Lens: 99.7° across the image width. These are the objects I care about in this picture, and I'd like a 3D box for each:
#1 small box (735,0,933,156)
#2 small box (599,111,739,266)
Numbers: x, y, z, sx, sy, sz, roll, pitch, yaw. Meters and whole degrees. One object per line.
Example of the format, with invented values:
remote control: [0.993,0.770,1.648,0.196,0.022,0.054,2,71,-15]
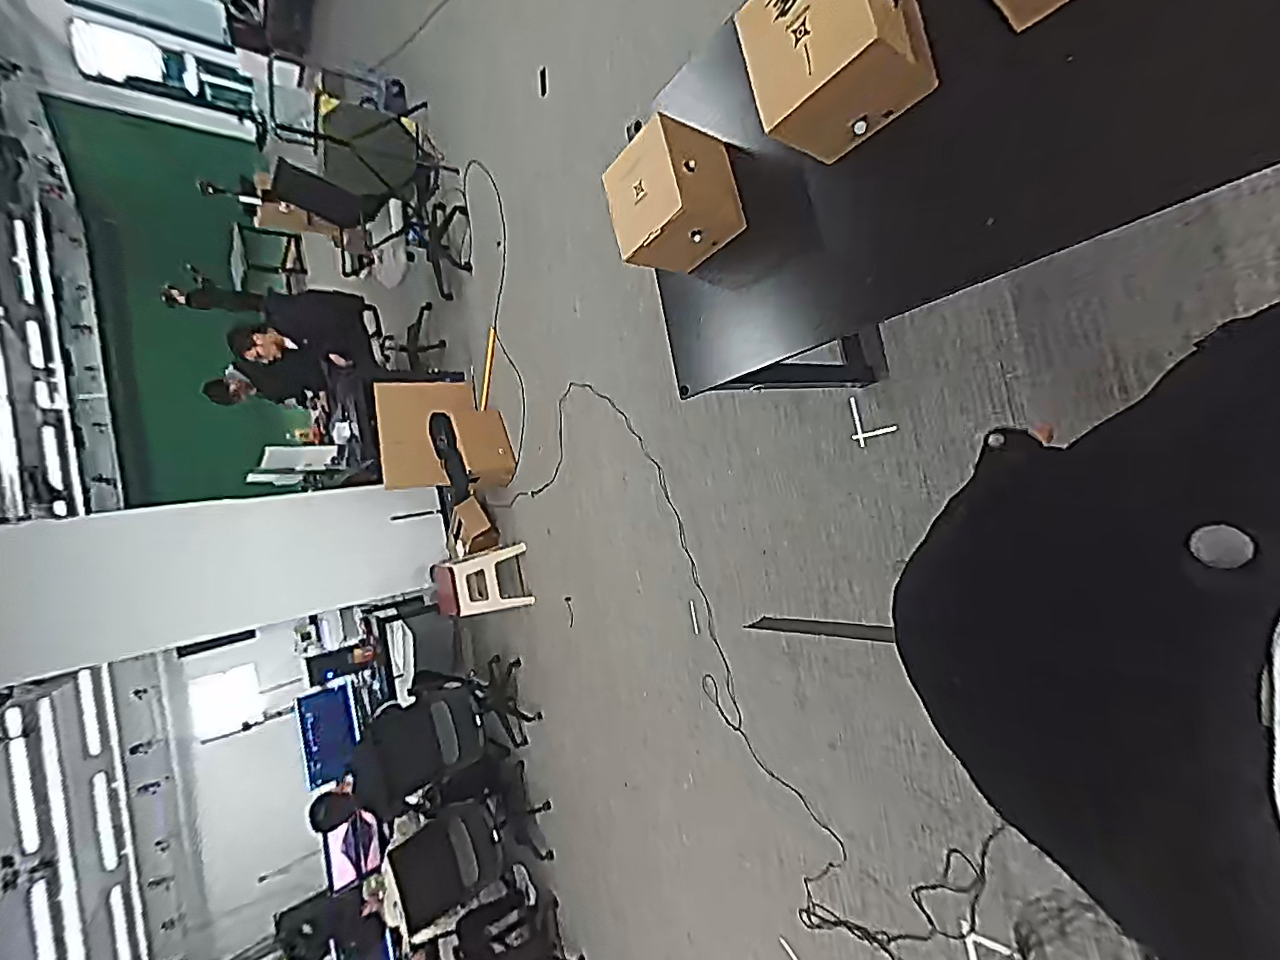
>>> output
small box: [0.256,-0.572,0.715,0.168,0.176,0.179,-16,85,51]
small box: [0.055,-0.504,0.971,0.168,0.176,0.179,-20,81,49]
